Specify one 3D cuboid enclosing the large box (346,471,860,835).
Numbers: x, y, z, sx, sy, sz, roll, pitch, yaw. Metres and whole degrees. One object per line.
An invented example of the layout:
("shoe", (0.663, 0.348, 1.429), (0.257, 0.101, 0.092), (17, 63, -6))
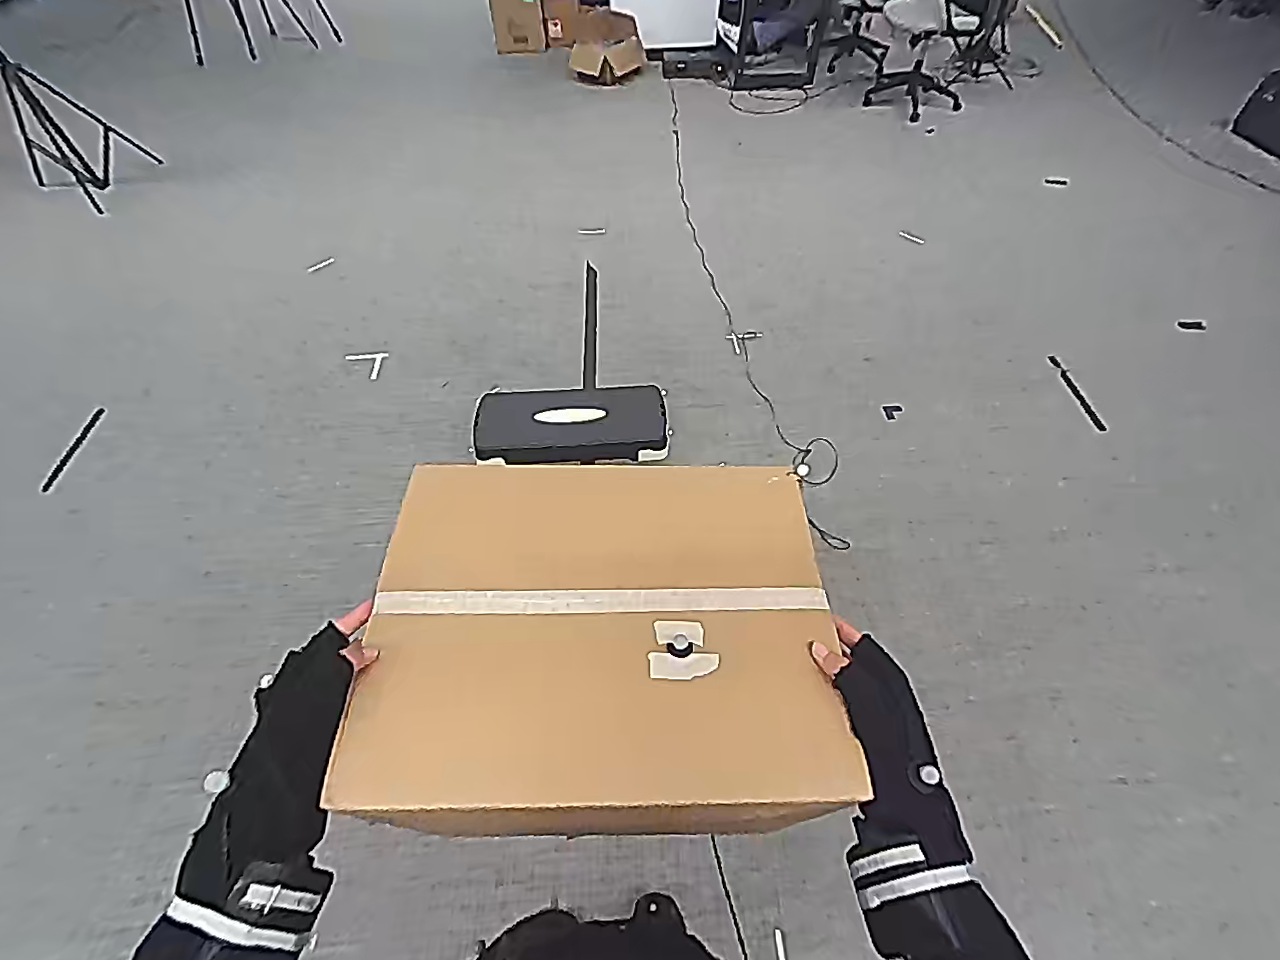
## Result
("large box", (-0.034, 0.203, 0.618), (0.408, 0.320, 0.320), (0, 53, -2))
